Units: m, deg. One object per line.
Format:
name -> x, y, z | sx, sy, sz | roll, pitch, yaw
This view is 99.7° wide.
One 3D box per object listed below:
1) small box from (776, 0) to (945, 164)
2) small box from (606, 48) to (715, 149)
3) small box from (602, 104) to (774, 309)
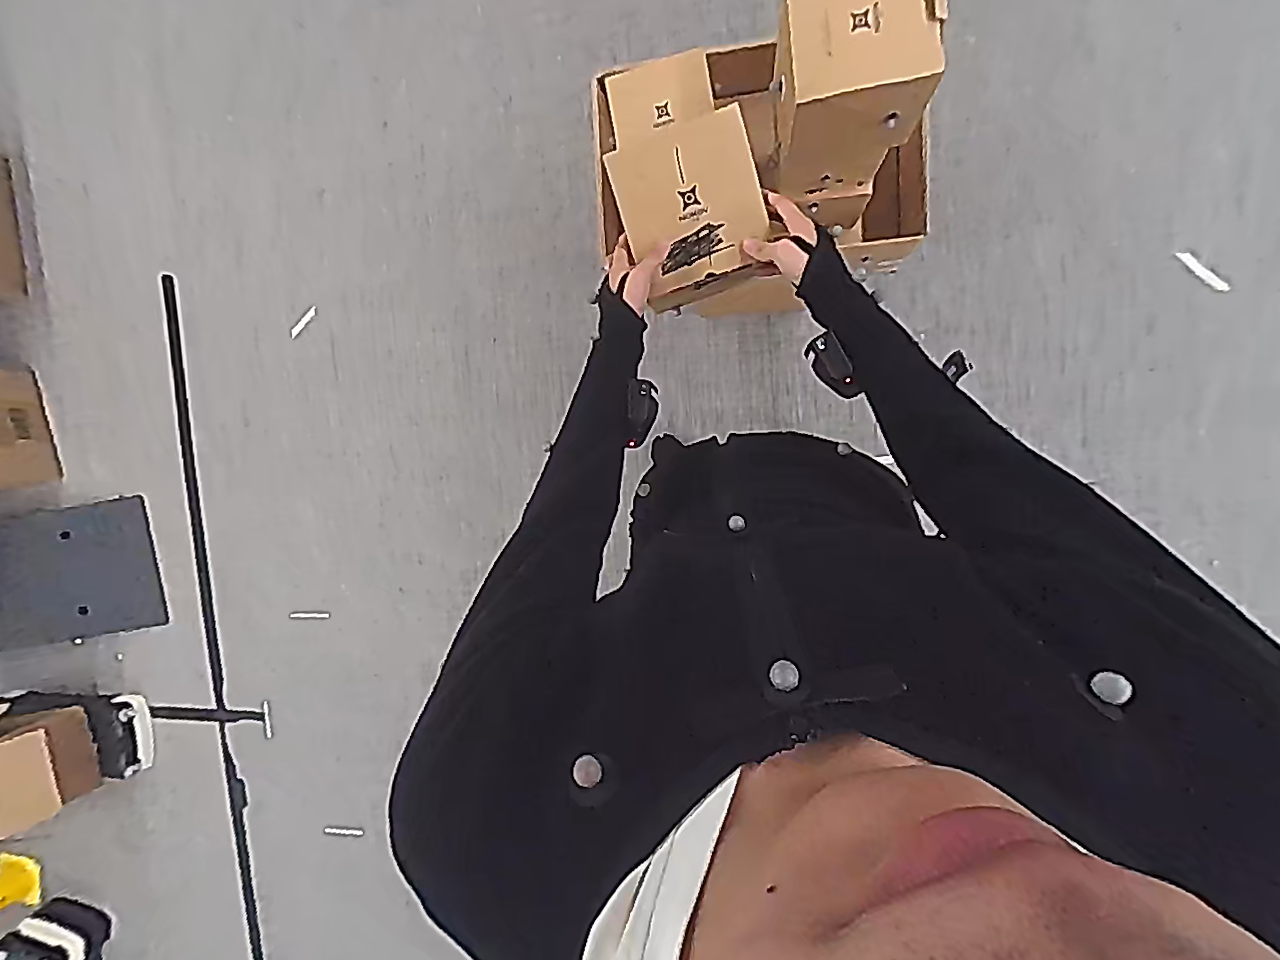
small box -> 0.285, -0.562, 0.731 | 0.179, 0.176, 0.168 | -5, 93, 11
small box -> 0.051, -0.584, 0.939 | 0.168, 0.176, 0.179 | -10, 94, 11
small box -> 0.066, -0.335, 0.708 | 0.168, 0.176, 0.179 | -16, 98, 8
